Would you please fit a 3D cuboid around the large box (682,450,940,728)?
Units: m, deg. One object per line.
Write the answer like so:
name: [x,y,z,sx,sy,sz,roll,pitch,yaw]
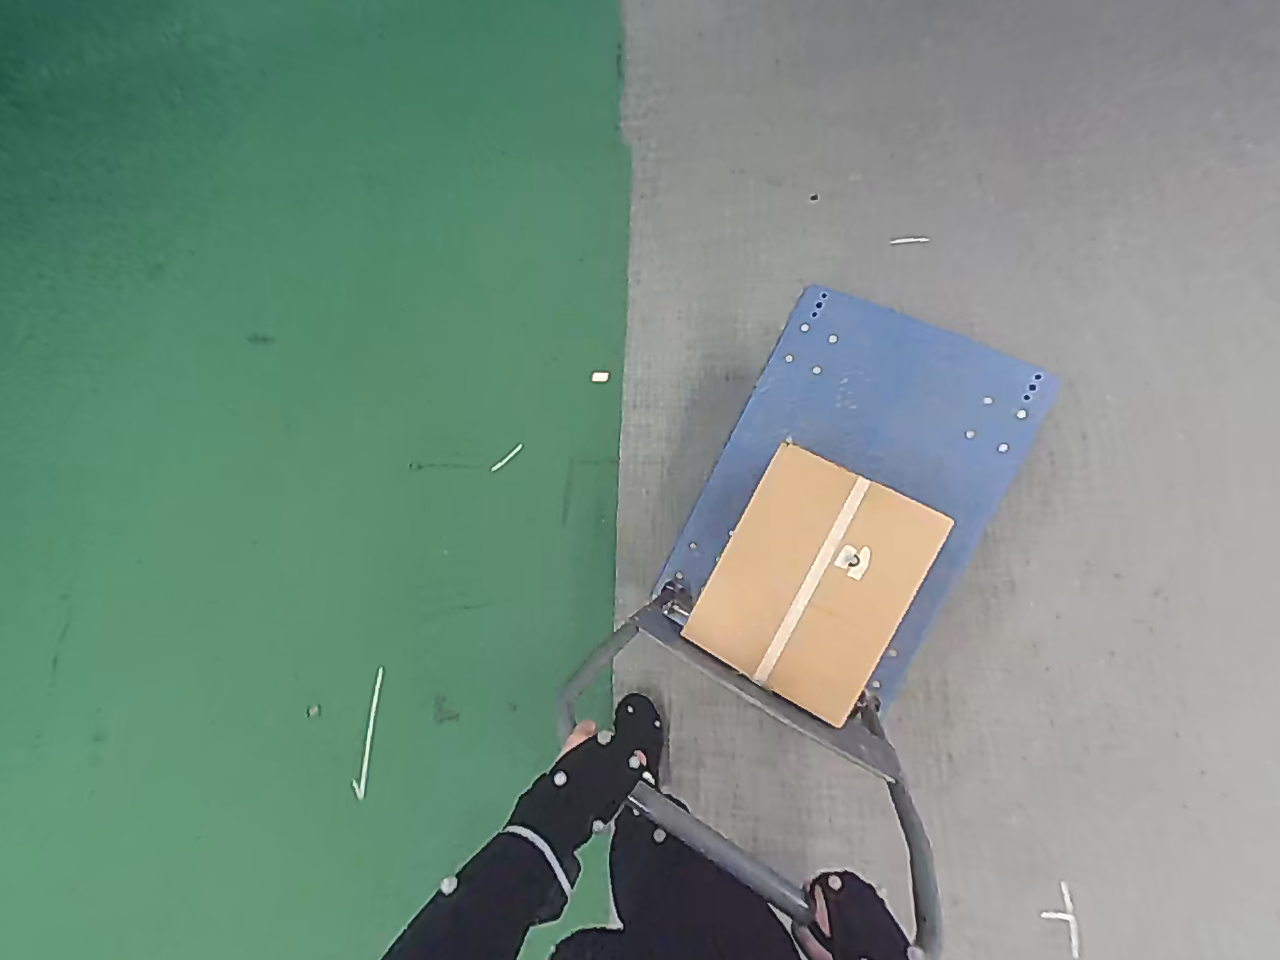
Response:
large box: [0.332,0.203,1.107,0.320,0.320,0.408,28,92,15]
